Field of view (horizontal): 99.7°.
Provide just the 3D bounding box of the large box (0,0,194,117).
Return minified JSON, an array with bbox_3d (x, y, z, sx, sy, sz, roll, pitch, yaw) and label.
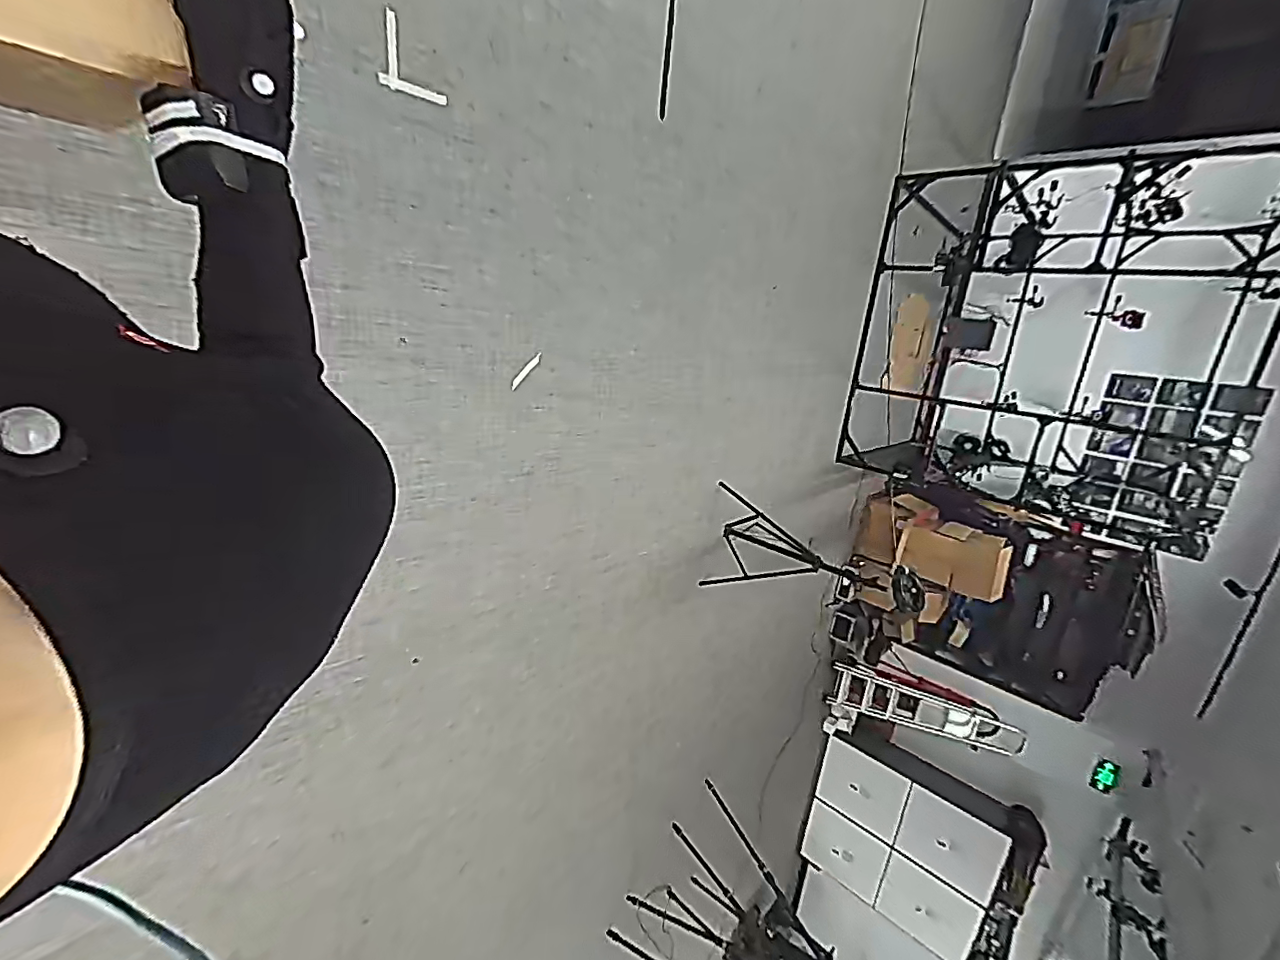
[{"bbox_3d":[-0.558,-0.450,0.293,0.408,0.320,0.320,-15,119,-51],"label":"large box"}]
